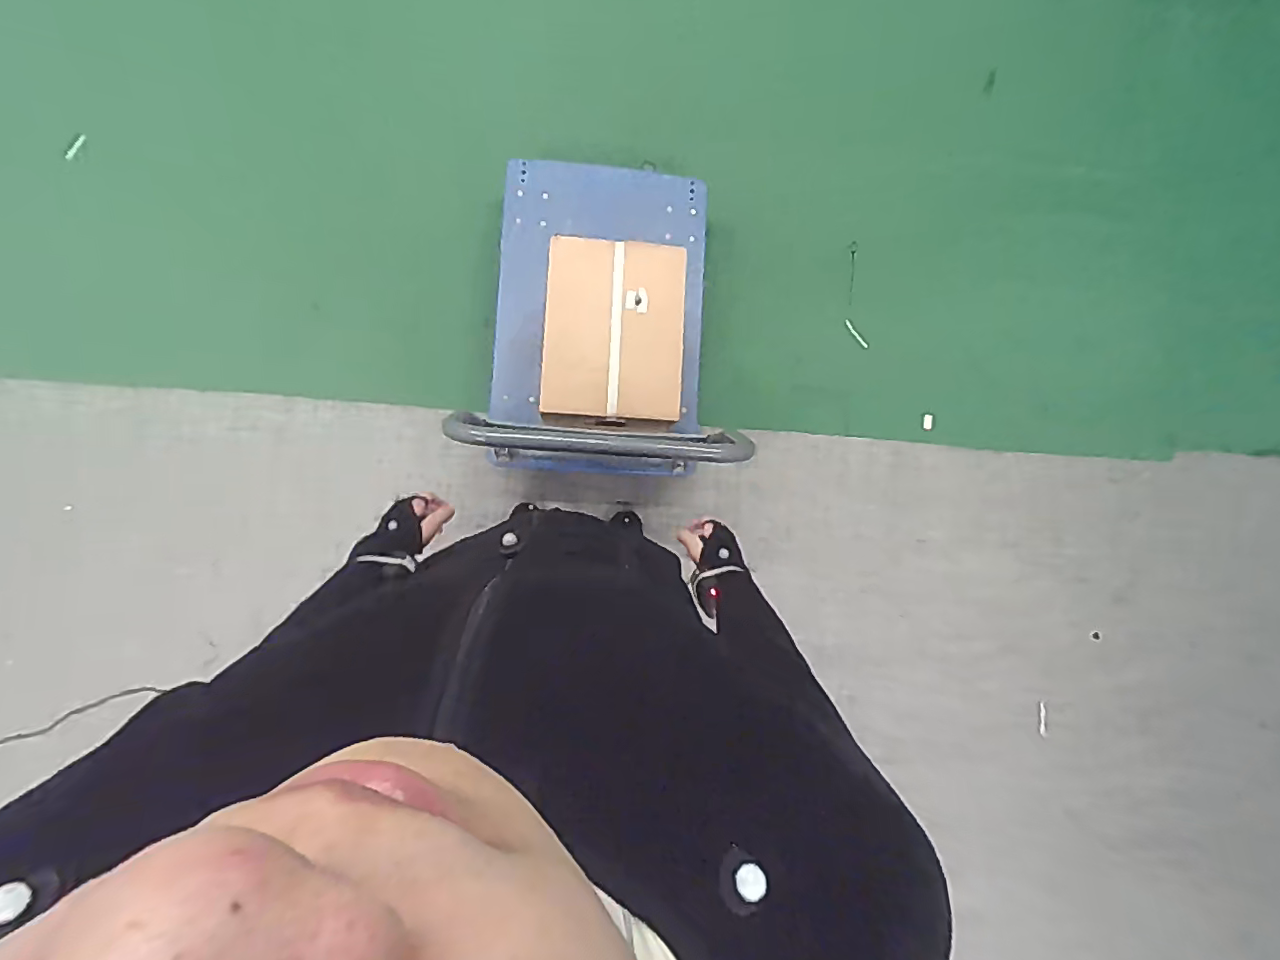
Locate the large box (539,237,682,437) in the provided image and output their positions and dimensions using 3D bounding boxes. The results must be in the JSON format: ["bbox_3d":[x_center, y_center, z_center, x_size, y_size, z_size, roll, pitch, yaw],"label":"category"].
[{"bbox_3d":[-0.076,-0.330,1.355,0.320,0.320,0.408,3,85,-7],"label":"large box"}]
